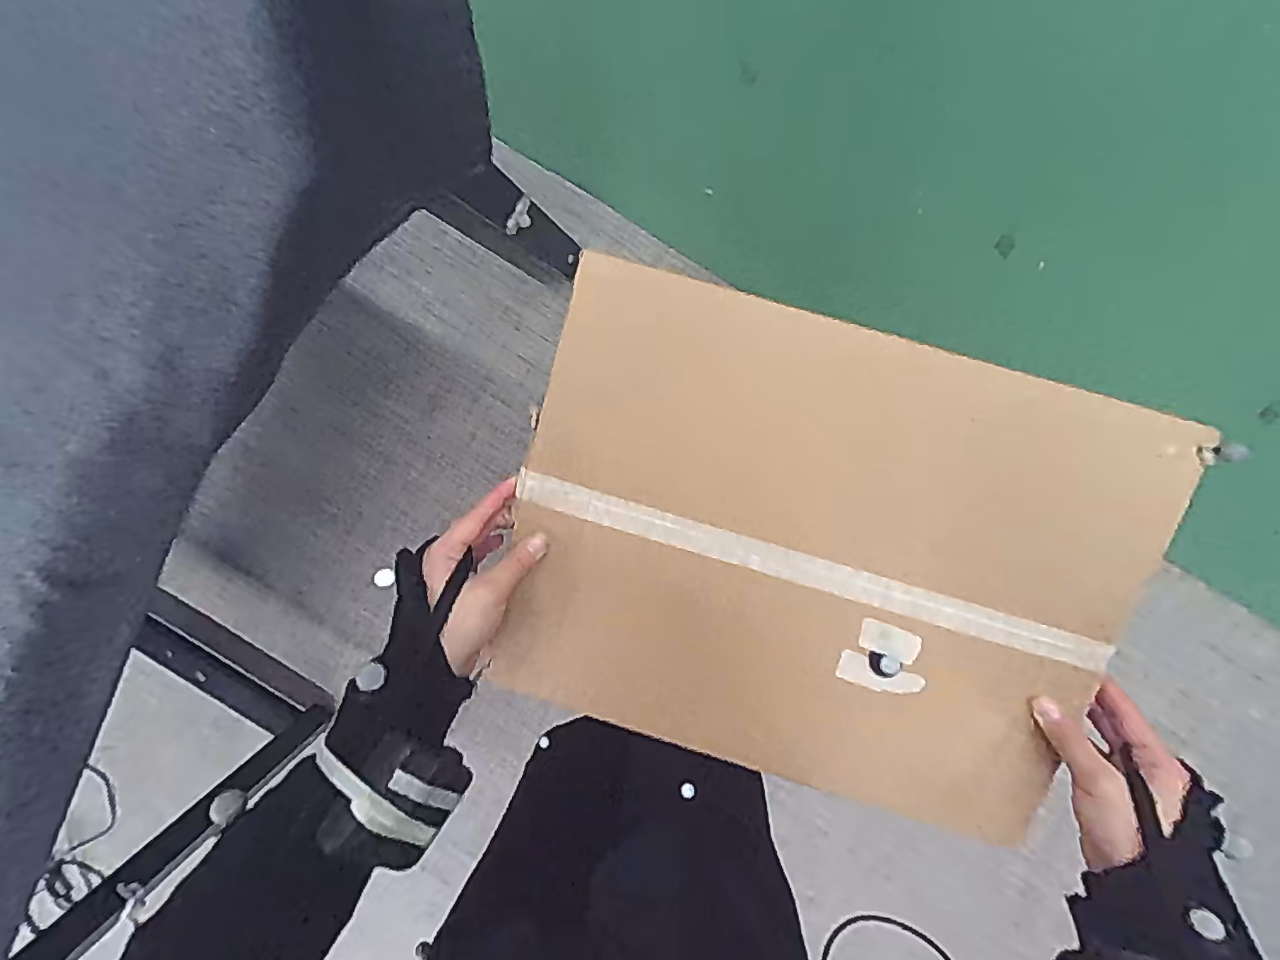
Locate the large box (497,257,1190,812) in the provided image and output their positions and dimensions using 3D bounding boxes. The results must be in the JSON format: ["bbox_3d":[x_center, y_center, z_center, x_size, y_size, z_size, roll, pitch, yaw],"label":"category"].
[{"bbox_3d":[0.129,0.024,0.517,0.408,0.320,0.320,16,101,2],"label":"large box"}]
